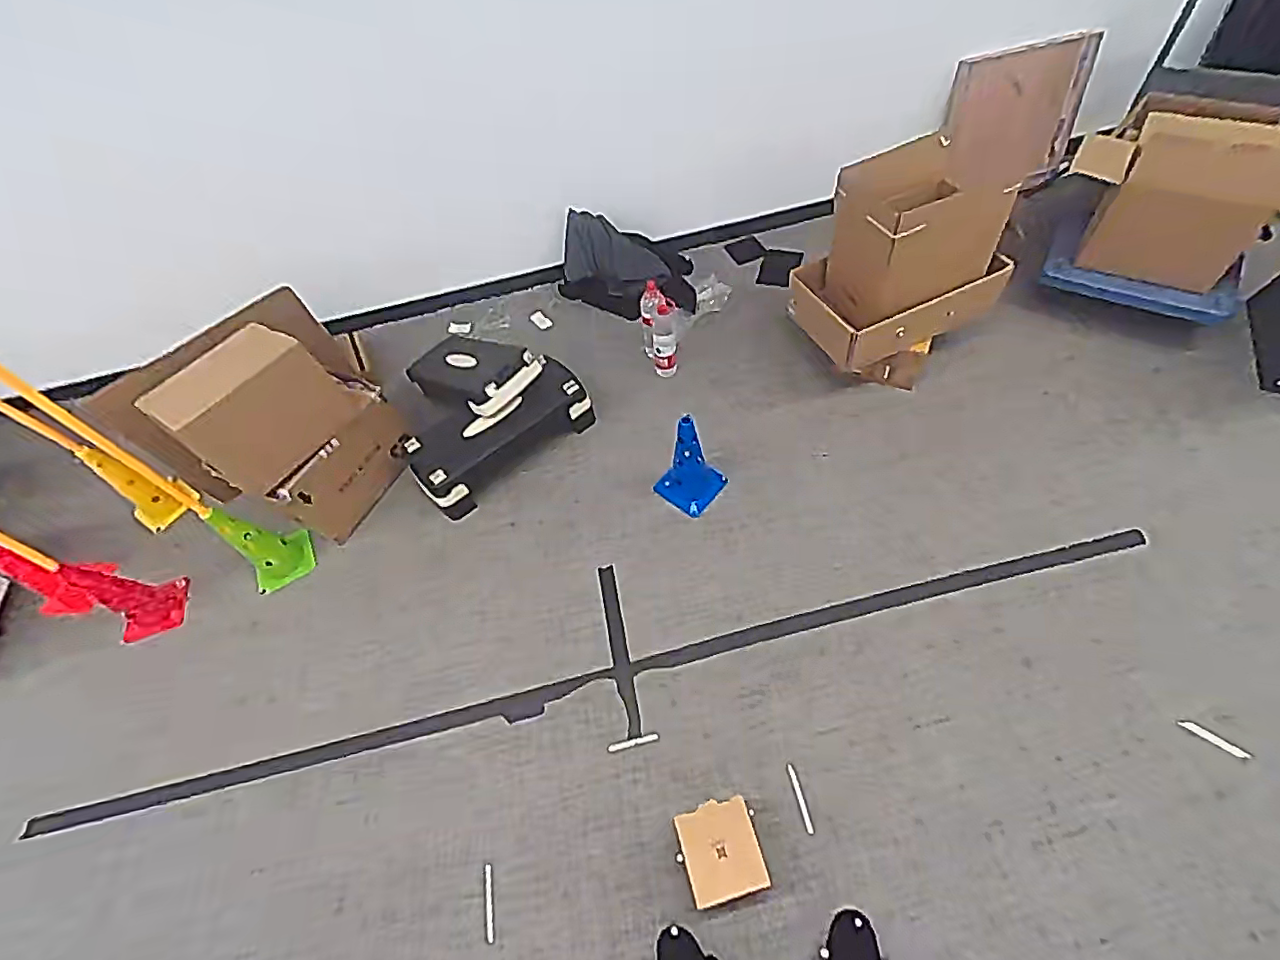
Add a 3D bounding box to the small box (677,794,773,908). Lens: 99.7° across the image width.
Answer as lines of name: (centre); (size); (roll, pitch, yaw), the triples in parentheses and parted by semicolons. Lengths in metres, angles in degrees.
small box: (0.193, 0.846, 1.245); (0.168, 0.176, 0.179); (-17, 56, -3)
